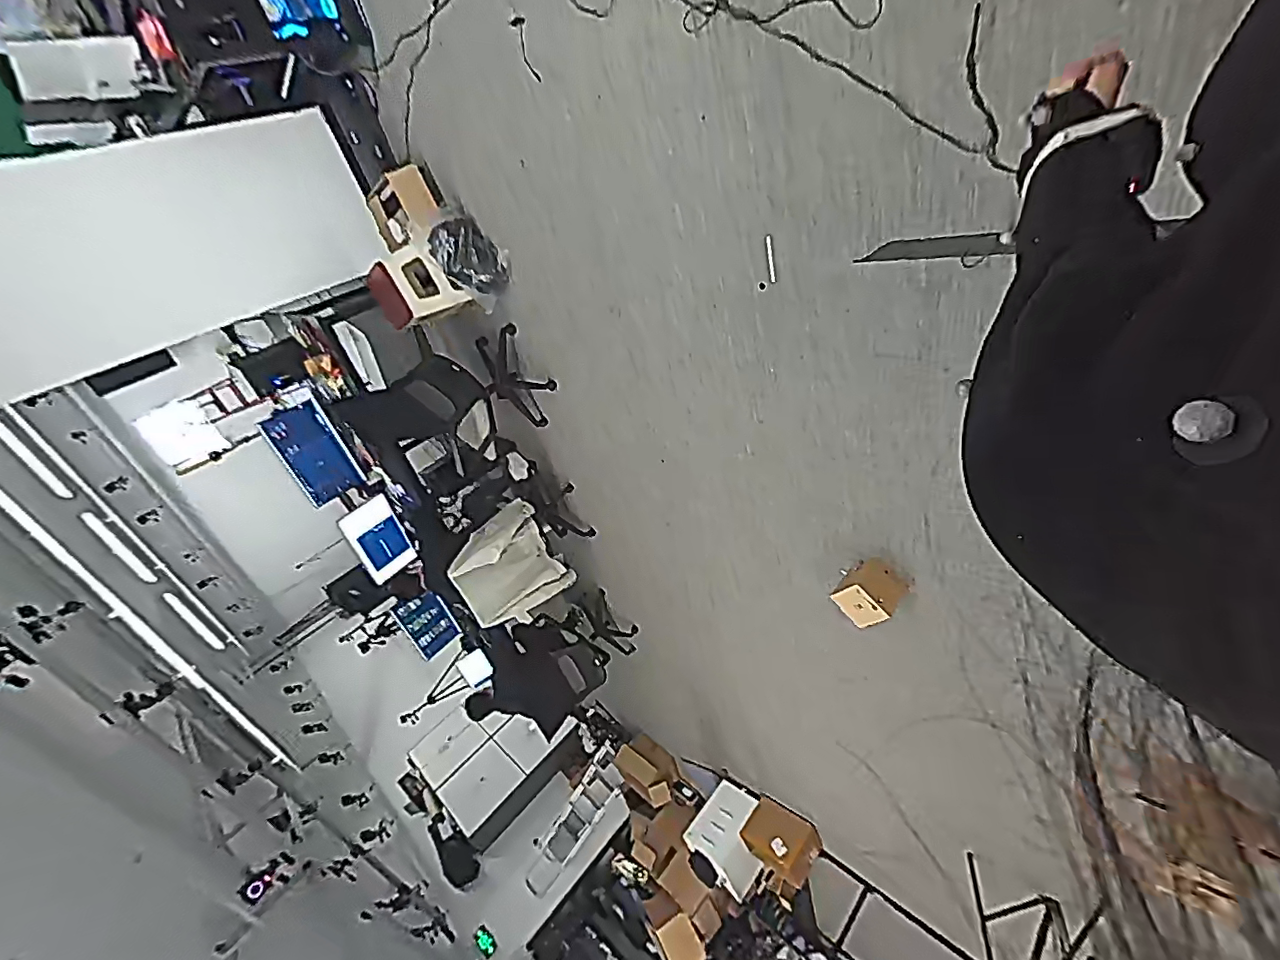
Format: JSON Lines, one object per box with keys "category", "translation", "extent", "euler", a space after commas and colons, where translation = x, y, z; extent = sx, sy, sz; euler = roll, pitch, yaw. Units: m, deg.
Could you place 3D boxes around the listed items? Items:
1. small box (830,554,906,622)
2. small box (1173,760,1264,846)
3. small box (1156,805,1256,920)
{"category": "small box", "translation": [0.875, 0.411, 2.065], "extent": [0.168, 0.176, 0.179], "euler": [47, 149, 8]}
{"category": "small box", "translation": [1.698, 0.973, 1.594], "extent": [0.168, 0.176, 0.179], "euler": [13, 134, 47]}
{"category": "small box", "translation": [1.584, 1.062, 1.514], "extent": [0.168, 0.176, 0.179], "euler": [14, 134, 46]}
